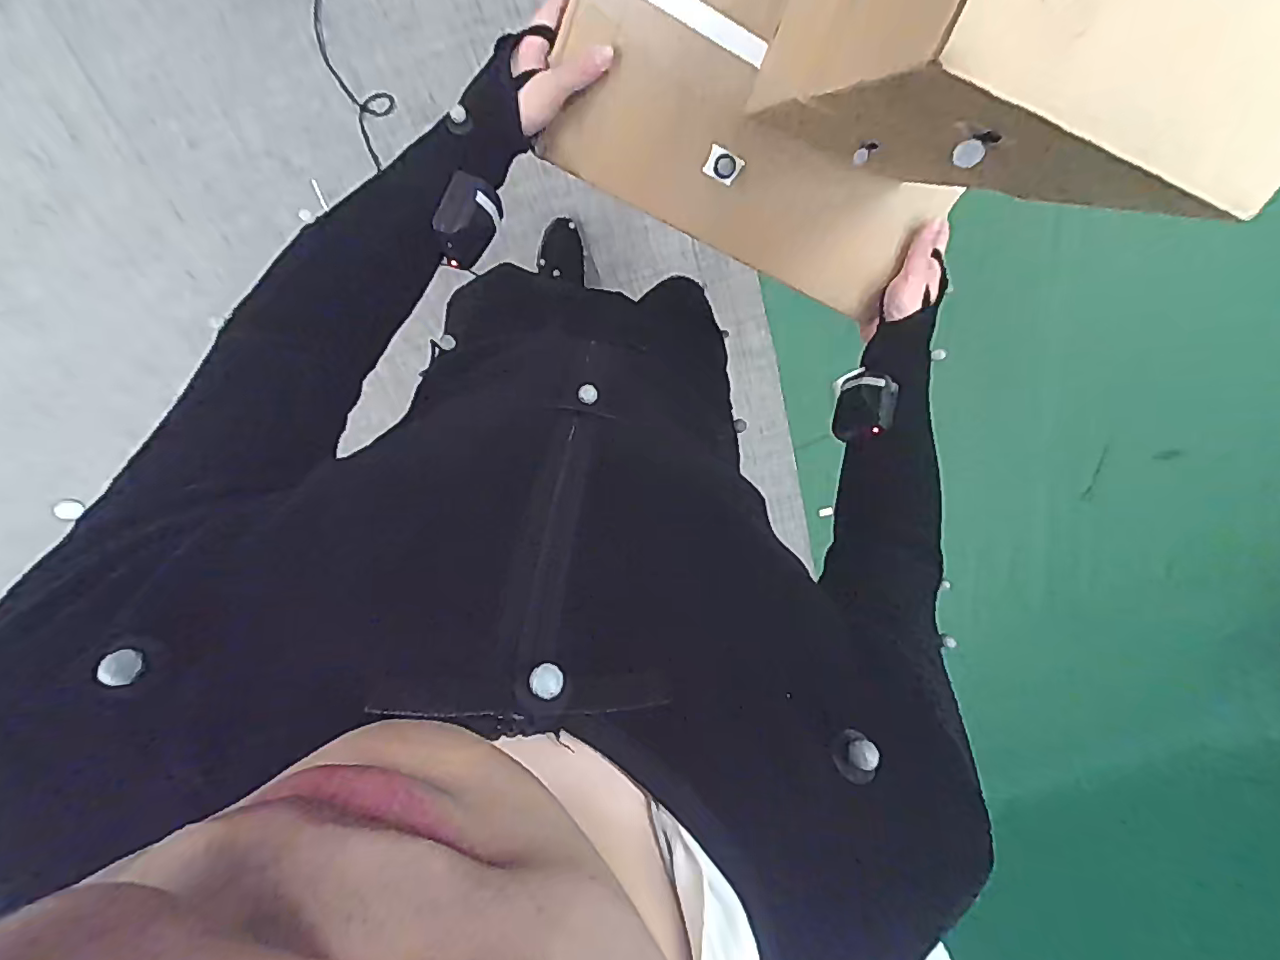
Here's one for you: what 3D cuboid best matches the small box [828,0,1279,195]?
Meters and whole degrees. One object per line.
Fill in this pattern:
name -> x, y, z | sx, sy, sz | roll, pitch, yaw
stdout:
small box -> 0.220, -0.254, 0.256 | 0.179, 0.176, 0.168 | 17, 119, -10

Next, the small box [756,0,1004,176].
small box -> 0.205, -0.342, 0.395 | 0.179, 0.176, 0.168 | 15, 120, -11

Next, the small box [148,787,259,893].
small box -> -1.171, 0.970, 1.464 | 0.168, 0.176, 0.179 | 22, 112, -16
